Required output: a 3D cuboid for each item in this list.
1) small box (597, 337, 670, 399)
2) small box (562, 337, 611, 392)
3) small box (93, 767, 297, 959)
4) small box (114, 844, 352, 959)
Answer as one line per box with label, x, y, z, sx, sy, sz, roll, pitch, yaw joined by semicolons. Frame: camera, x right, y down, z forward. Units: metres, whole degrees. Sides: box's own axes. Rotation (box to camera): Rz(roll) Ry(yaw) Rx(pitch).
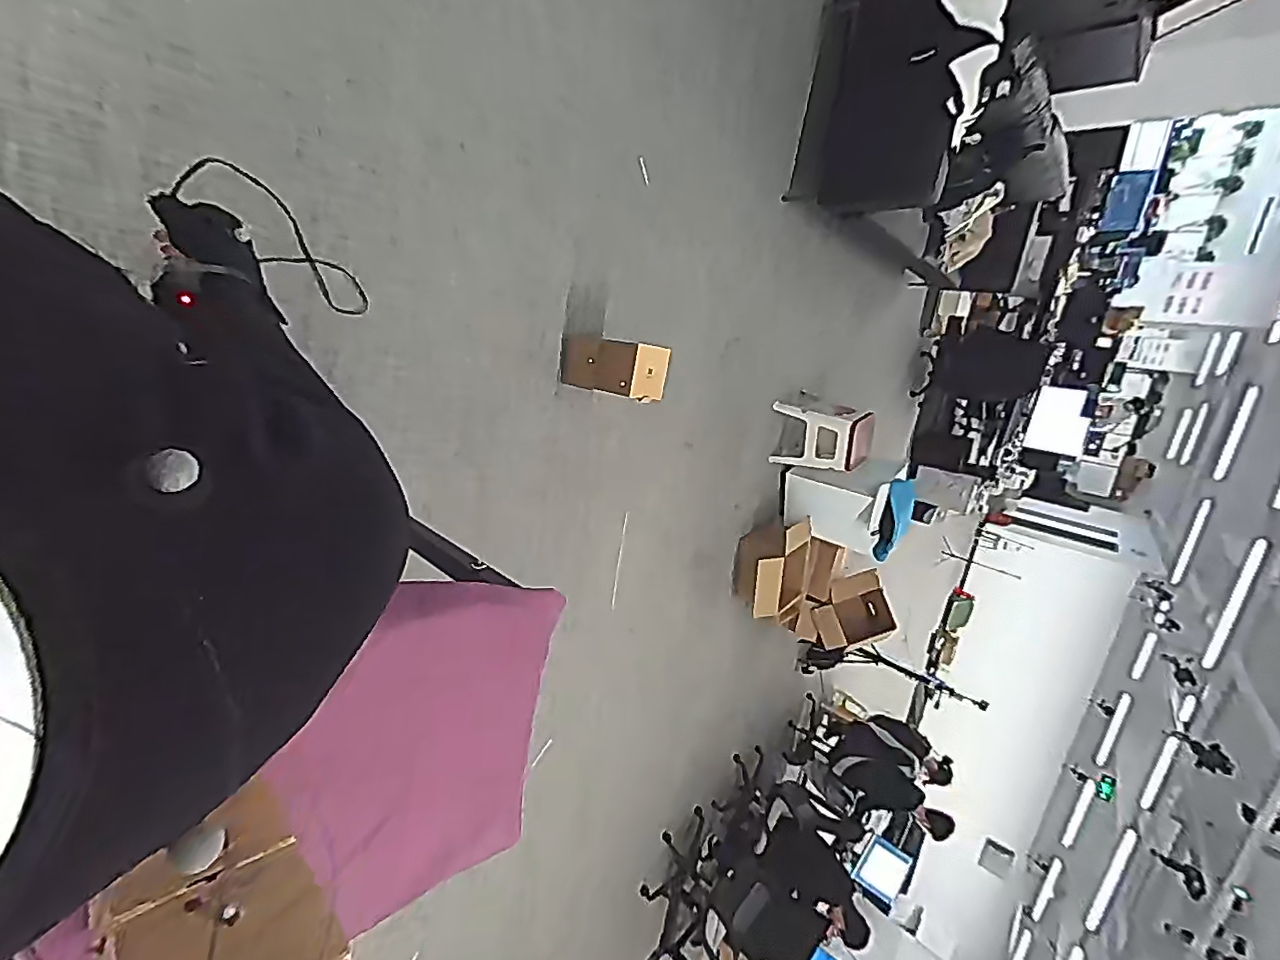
small box;-0.027;-0.377;1.814;0.168;0.176;0.179;-6;110;-48
small box;-0.150;-0.408;1.916;0.179;0.176;0.168;-6;110;-49
small box;-0.548;0.489;0.663;0.168;0.176;0.179;-1;107;-50
small box;-0.427;0.540;0.564;0.168;0.176;0.179;-2;106;-50
